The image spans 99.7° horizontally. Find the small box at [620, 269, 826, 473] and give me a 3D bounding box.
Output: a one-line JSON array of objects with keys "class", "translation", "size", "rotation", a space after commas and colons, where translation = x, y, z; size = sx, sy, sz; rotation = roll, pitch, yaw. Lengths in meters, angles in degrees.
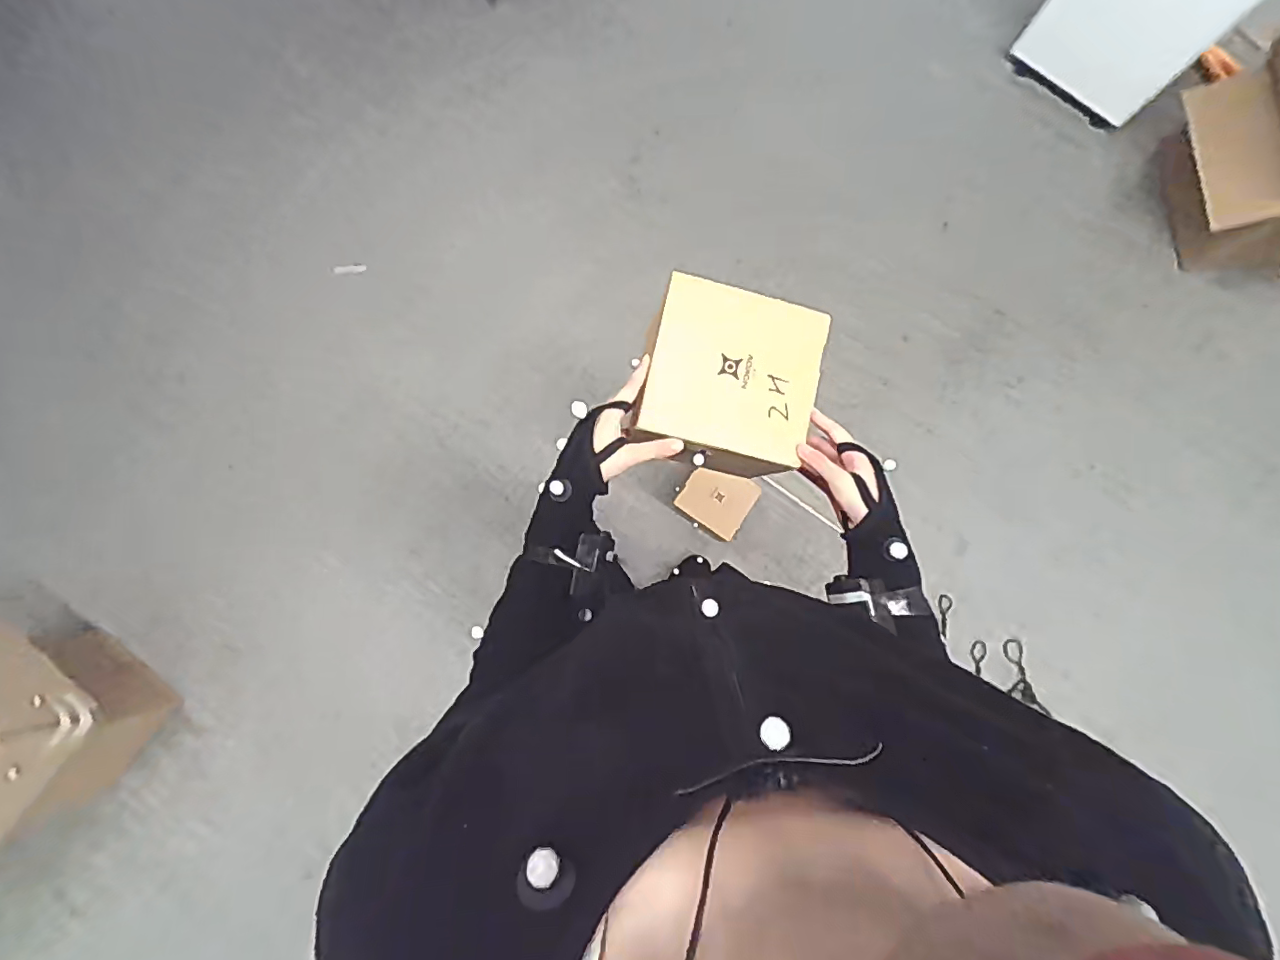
[{"class": "small box", "translation": [0.080, -0.107, 0.616], "size": [0.179, 0.176, 0.168], "rotation": [14, 85, -6]}]

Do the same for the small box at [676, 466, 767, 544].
[{"class": "small box", "translation": [0.208, 0.061, 1.450], "size": [0.179, 0.176, 0.168], "rotation": [36, 85, 5]}]
